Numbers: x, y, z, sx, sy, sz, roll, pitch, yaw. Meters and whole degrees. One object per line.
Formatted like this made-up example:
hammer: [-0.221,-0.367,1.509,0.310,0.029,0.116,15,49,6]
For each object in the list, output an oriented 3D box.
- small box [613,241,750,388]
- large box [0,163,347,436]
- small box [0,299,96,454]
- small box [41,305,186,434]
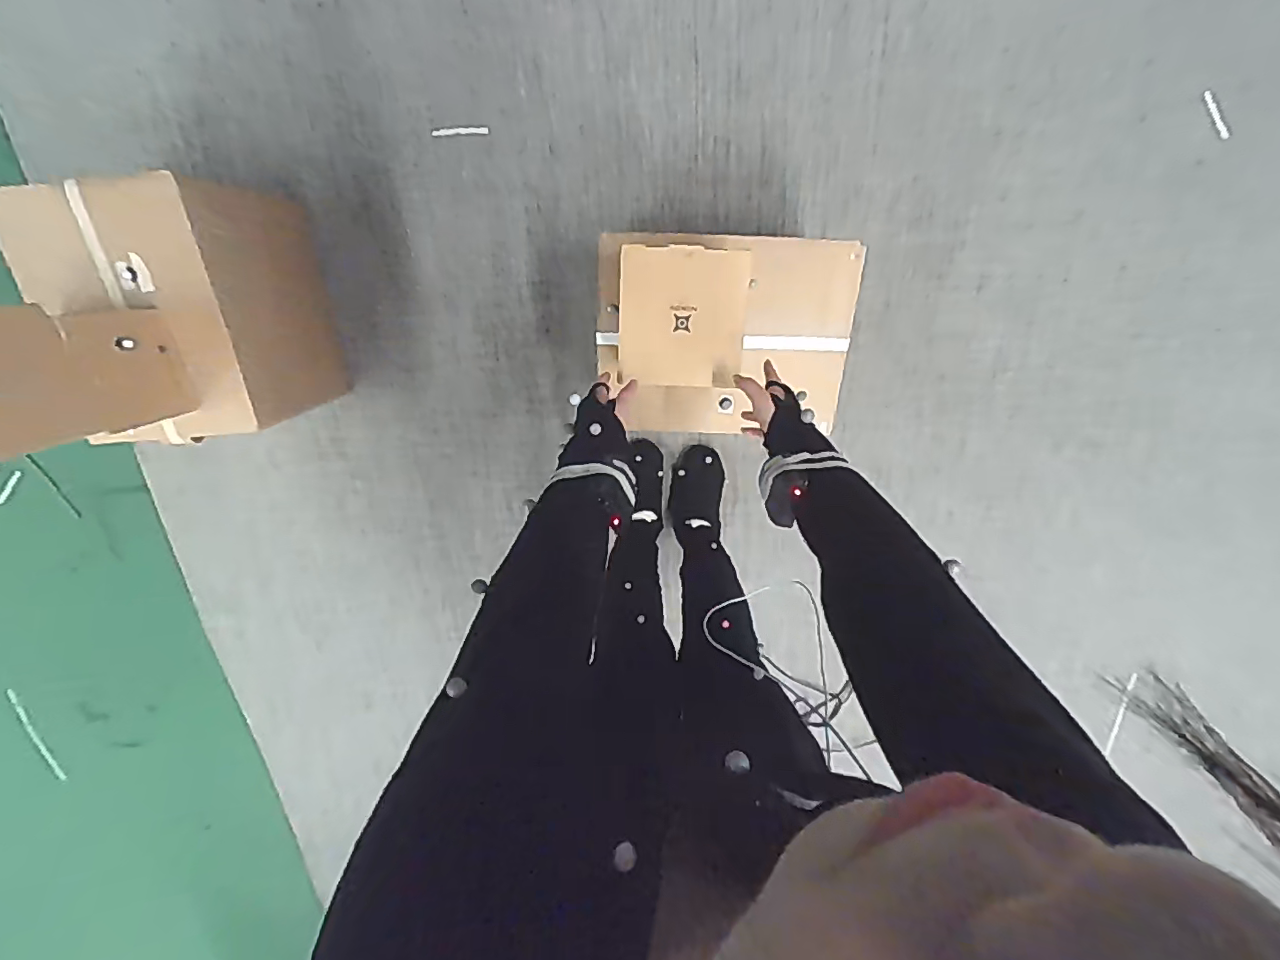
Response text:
small box: [0.052,-0.236,0.769,0.168,0.176,0.179,3,109,0]
large box: [-0.820,-0.322,1.009,0.320,0.320,0.408,-4,110,2]
small box: [-0.838,-0.114,0.653,0.168,0.176,0.179,-8,110,4]
small box: [-0.836,-0.167,0.808,0.179,0.176,0.168,-4,111,3]
